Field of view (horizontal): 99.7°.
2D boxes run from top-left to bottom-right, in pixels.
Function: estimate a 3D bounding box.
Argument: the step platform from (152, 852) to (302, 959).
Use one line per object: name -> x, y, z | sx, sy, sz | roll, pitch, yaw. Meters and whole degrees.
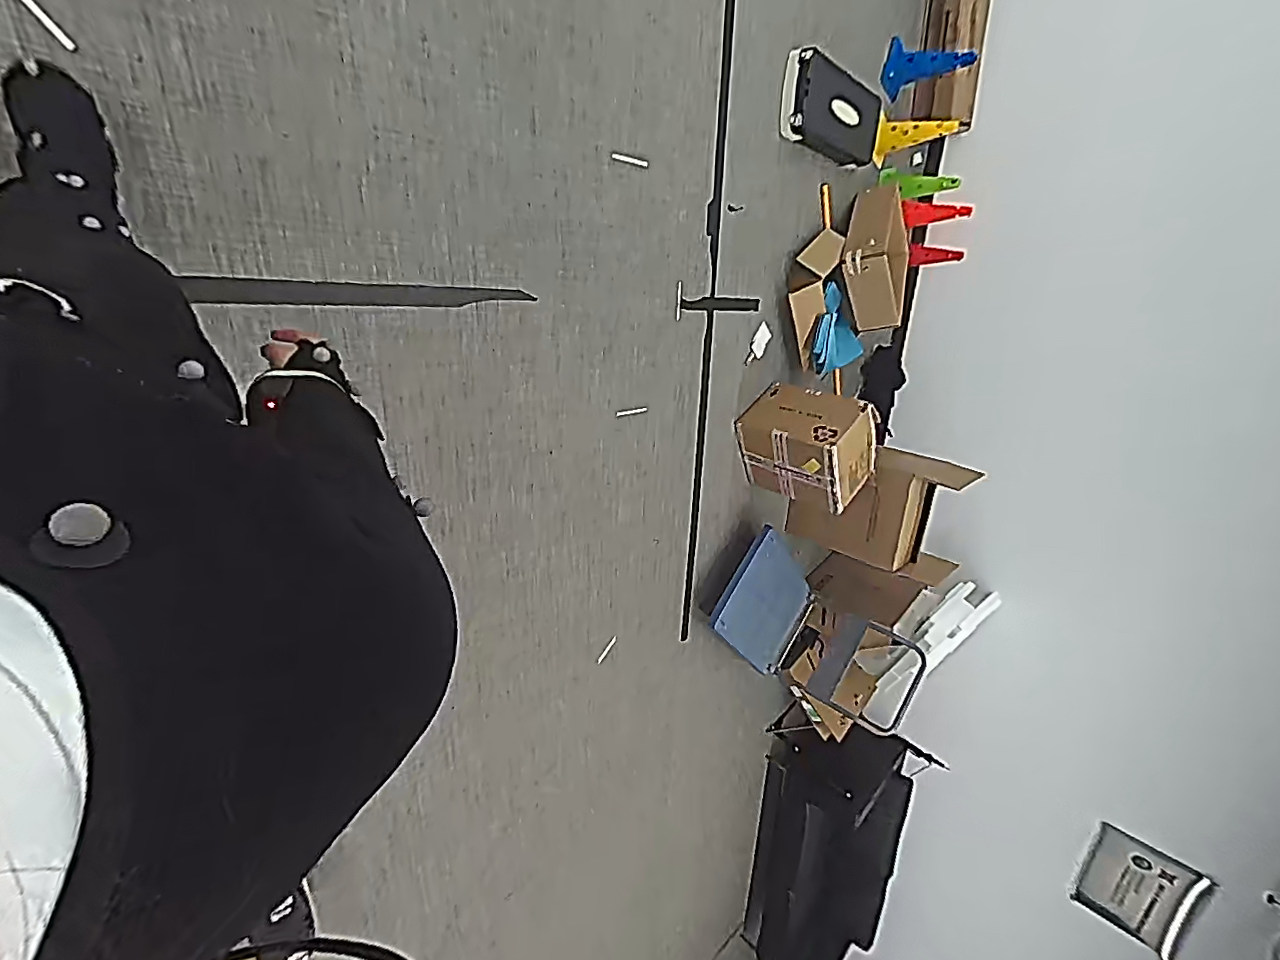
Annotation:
step platform -> -1.162, 1.200, 1.210 | 0.684, 0.204, 0.286 | -18, 119, -44
